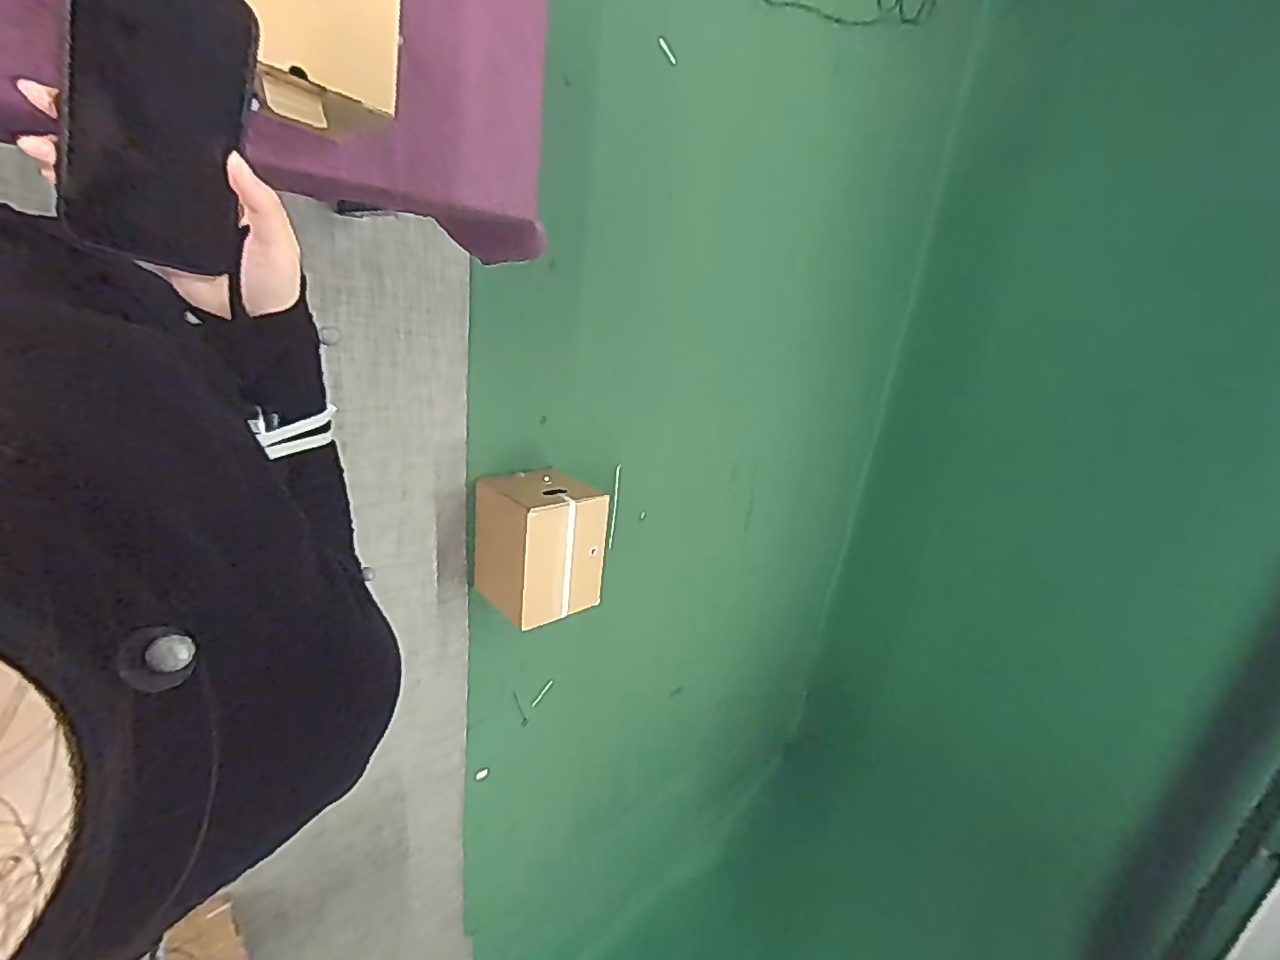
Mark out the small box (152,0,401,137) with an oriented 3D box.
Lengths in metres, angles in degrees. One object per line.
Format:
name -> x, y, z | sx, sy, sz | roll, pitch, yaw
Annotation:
small box -> -0.338, -0.449, 0.500 | 0.168, 0.176, 0.179 | -5, 112, -45
